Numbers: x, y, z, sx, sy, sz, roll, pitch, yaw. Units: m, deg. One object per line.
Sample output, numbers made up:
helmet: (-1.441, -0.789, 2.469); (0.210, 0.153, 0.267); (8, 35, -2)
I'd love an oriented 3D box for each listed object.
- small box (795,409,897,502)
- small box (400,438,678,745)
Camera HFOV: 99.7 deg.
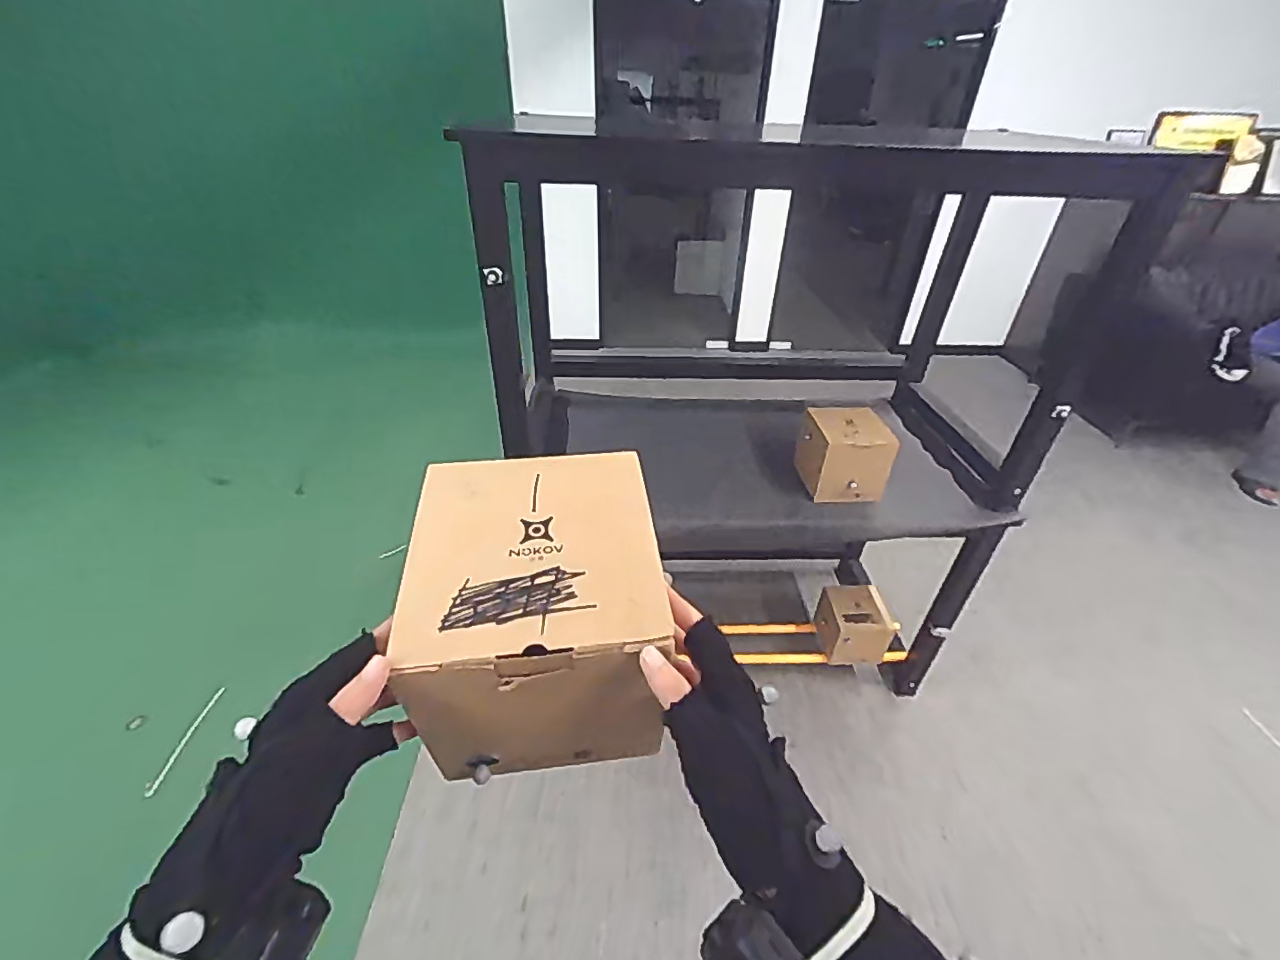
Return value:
small box: (0.493, -0.062, 1.328); (0.168, 0.176, 0.179); (-1, 34, -3)
small box: (-0.068, 0.089, 0.426); (0.168, 0.176, 0.179); (-4, 42, -7)
